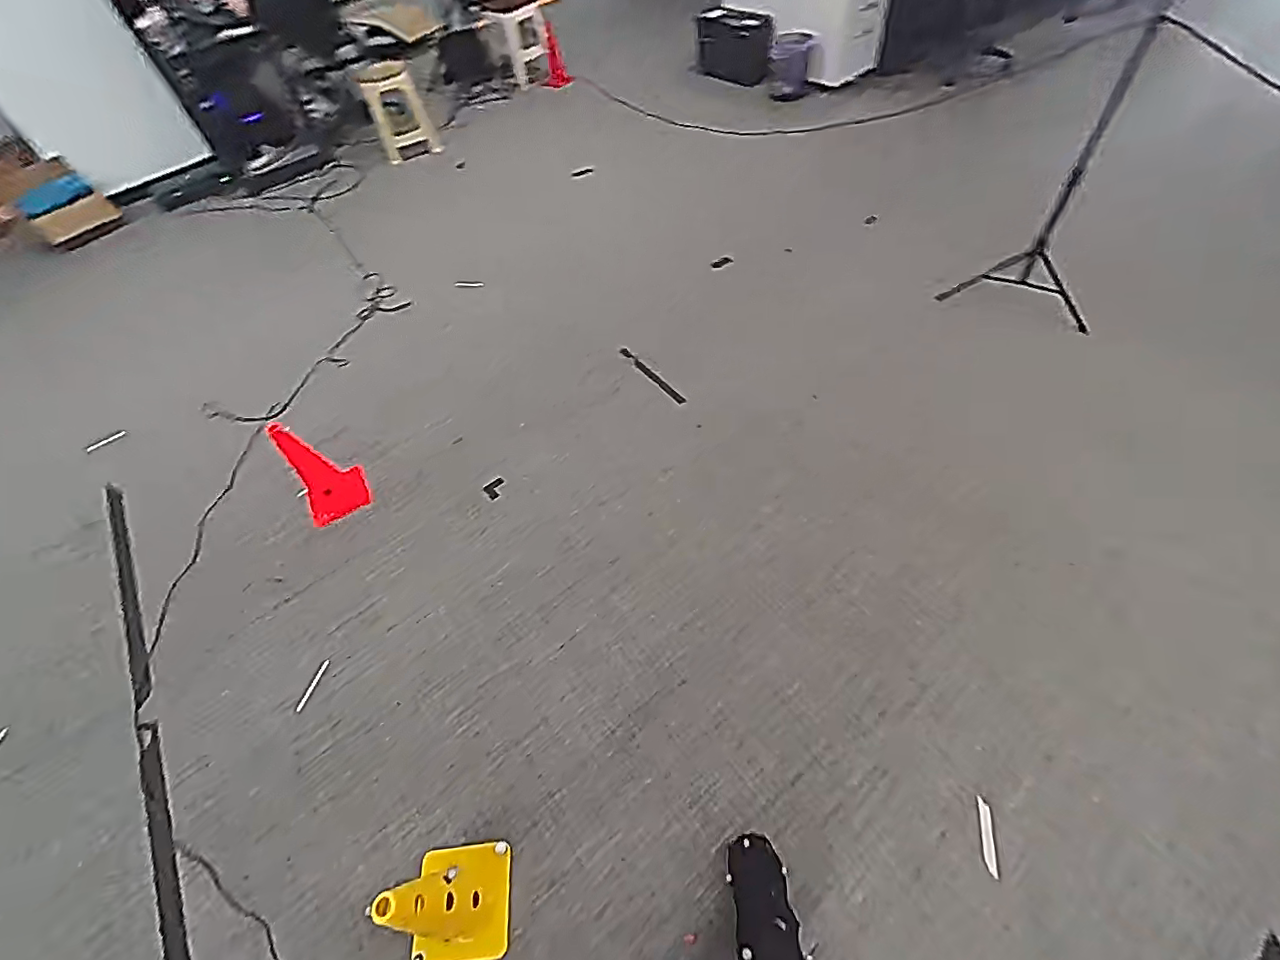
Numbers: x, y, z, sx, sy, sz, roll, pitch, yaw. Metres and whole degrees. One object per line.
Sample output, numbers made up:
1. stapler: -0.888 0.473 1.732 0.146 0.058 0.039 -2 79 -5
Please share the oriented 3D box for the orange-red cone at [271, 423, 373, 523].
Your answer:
1. orange-red cone: -1.059 -0.055 1.747 0.198 0.360 0.199 -28 56 -12
